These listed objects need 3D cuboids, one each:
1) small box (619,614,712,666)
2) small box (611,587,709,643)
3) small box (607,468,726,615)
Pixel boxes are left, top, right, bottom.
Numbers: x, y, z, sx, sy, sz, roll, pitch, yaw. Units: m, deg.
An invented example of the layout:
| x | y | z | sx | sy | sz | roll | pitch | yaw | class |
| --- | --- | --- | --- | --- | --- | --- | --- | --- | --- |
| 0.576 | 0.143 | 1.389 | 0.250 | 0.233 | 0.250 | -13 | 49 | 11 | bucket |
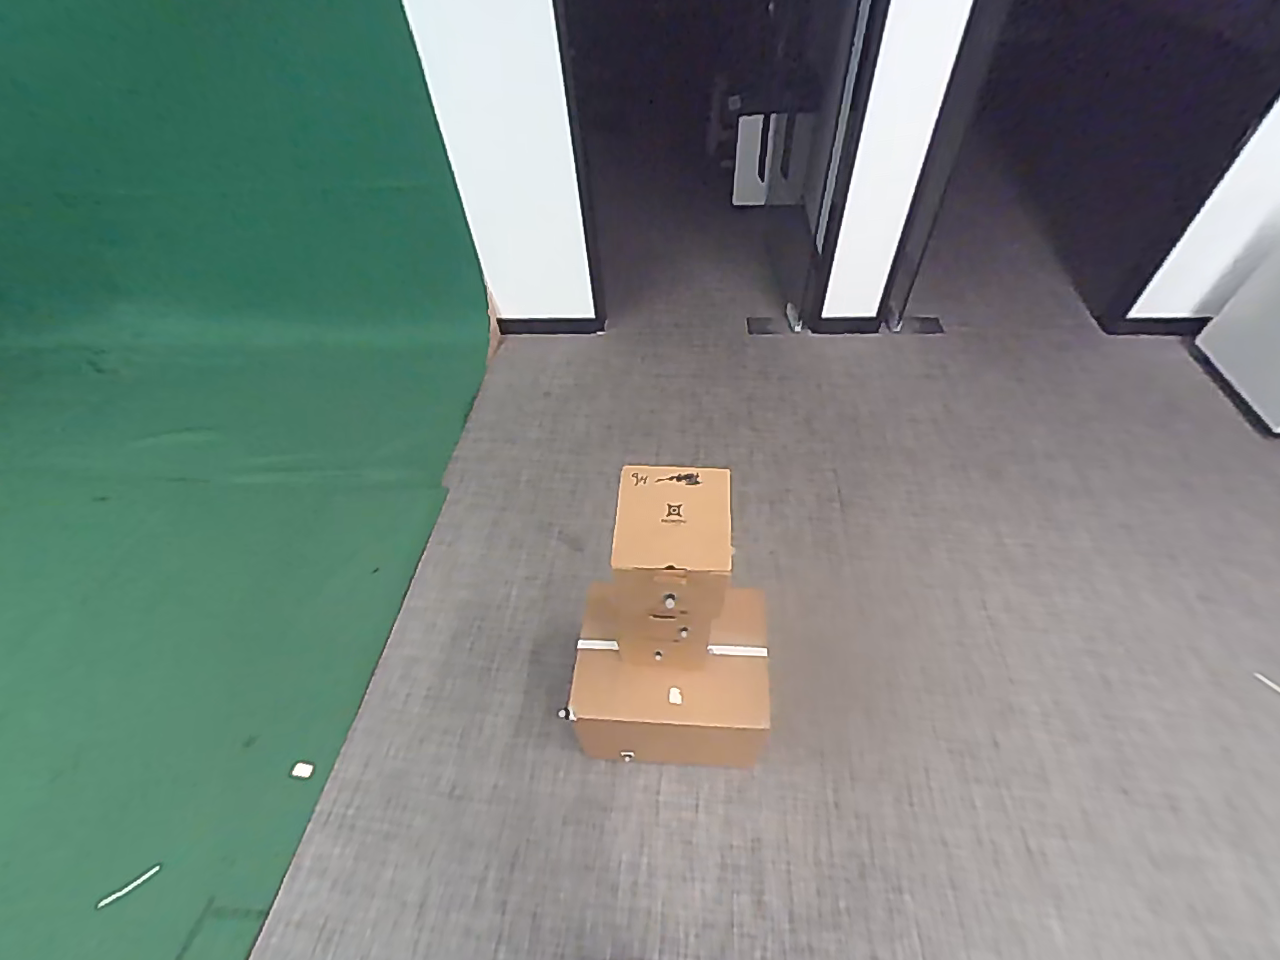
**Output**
| x | y | z | sx | sy | sz | roll | pitch | yaw | class |
| --- | --- | --- | --- | --- | --- | --- | --- | --- | --- |
| 0.056 | 0.279 | 1.119 | 0.179 | 0.176 | 0.168 | 0 | 56 | 5 | small box |
| 0.045 | 0.186 | 0.987 | 0.168 | 0.176 | 0.179 | 2 | 55 | 5 | small box |
| 0.048 | 0.100 | 0.847 | 0.168 | 0.176 | 0.179 | 2 | 56 | 5 | small box |
